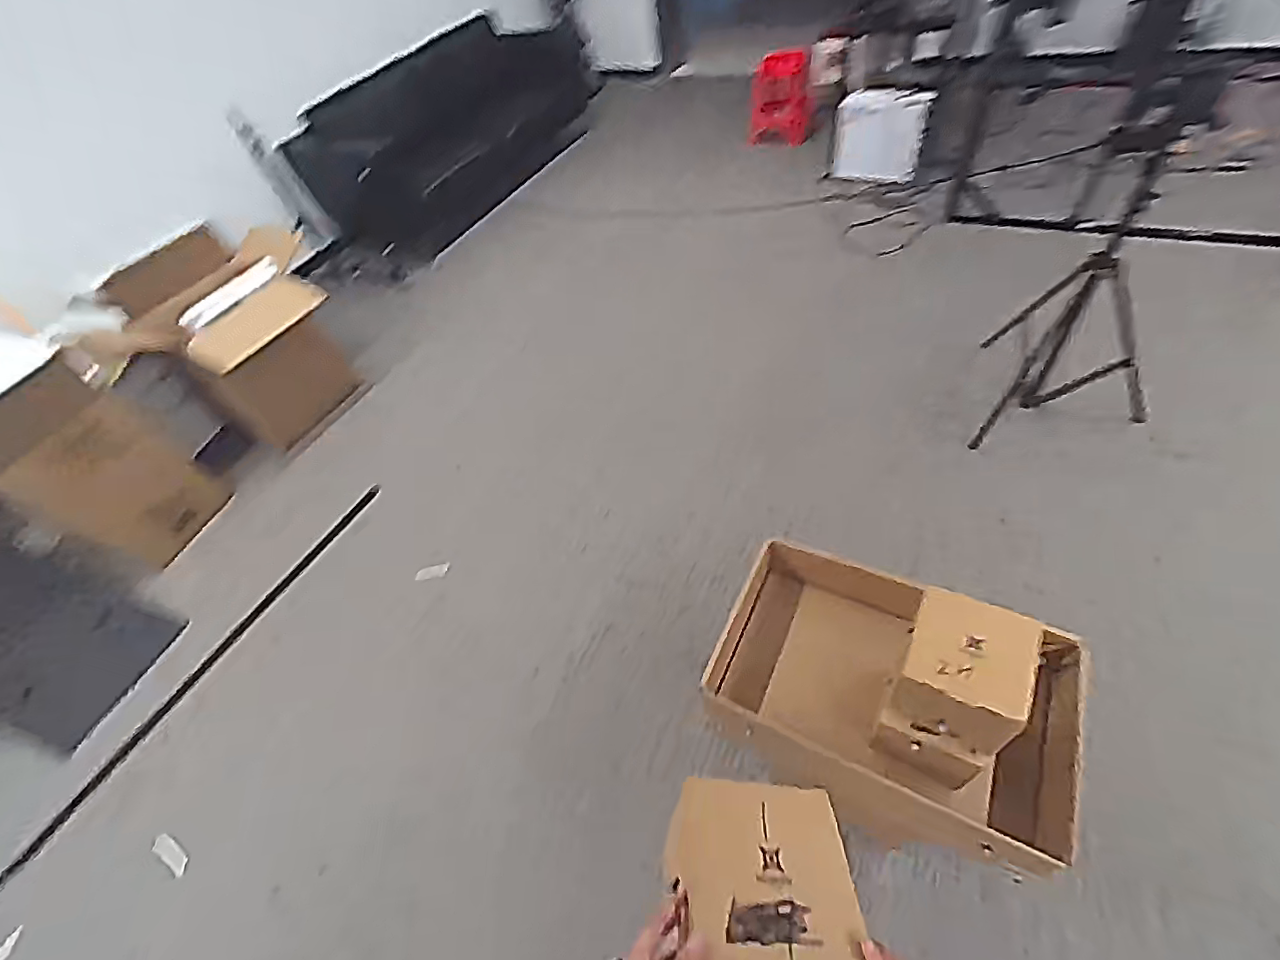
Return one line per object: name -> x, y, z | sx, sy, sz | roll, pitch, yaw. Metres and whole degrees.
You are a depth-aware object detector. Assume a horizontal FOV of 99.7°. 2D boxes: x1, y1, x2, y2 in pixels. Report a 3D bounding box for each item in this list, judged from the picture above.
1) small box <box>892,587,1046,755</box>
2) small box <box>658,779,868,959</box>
small box -> 0.530, 0.313, 0.889 | 0.168, 0.176, 0.179 | 19, 57, 27
small box -> 0.113, 0.455, 0.572 | 0.168, 0.176, 0.179 | 7, 29, -4
